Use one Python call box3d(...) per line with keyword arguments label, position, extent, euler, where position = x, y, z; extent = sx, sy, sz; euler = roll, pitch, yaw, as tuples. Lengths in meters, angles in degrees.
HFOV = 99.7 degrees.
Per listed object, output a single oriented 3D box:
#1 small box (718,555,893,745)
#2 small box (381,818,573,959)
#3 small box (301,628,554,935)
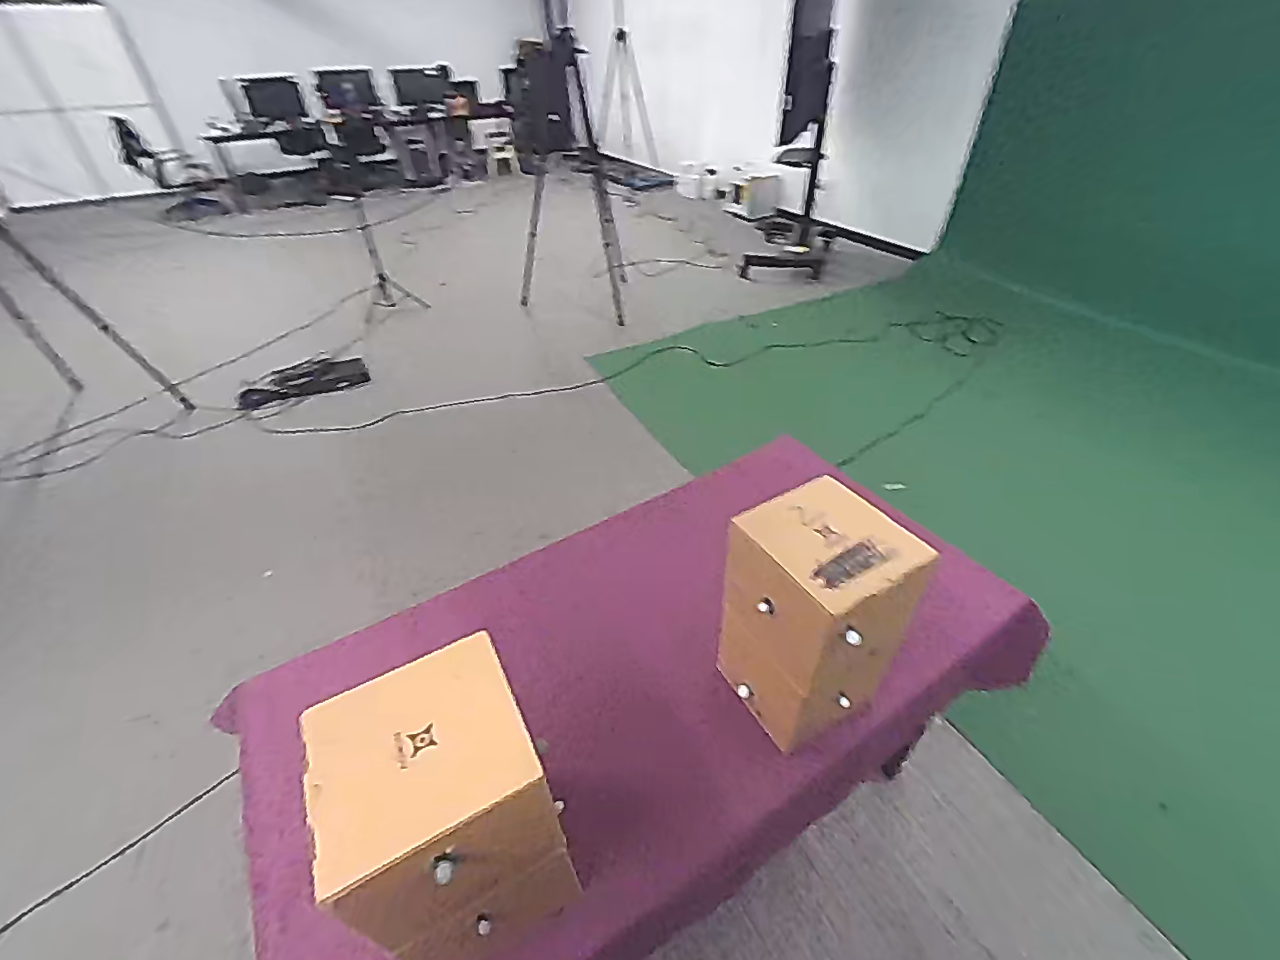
box3d(label="small box", position=(0.231, 0.249, 0.801), extent=(0.179, 0.176, 0.168), euler=(-22, 43, -21))
box3d(label="small box", position=(-0.192, 0.412, 0.623), extent=(0.179, 0.176, 0.168), euler=(-21, 43, -21))
box3d(label="small box", position=(-0.193, 0.284, 0.521), extent=(0.179, 0.176, 0.168), euler=(-22, 43, -21))
